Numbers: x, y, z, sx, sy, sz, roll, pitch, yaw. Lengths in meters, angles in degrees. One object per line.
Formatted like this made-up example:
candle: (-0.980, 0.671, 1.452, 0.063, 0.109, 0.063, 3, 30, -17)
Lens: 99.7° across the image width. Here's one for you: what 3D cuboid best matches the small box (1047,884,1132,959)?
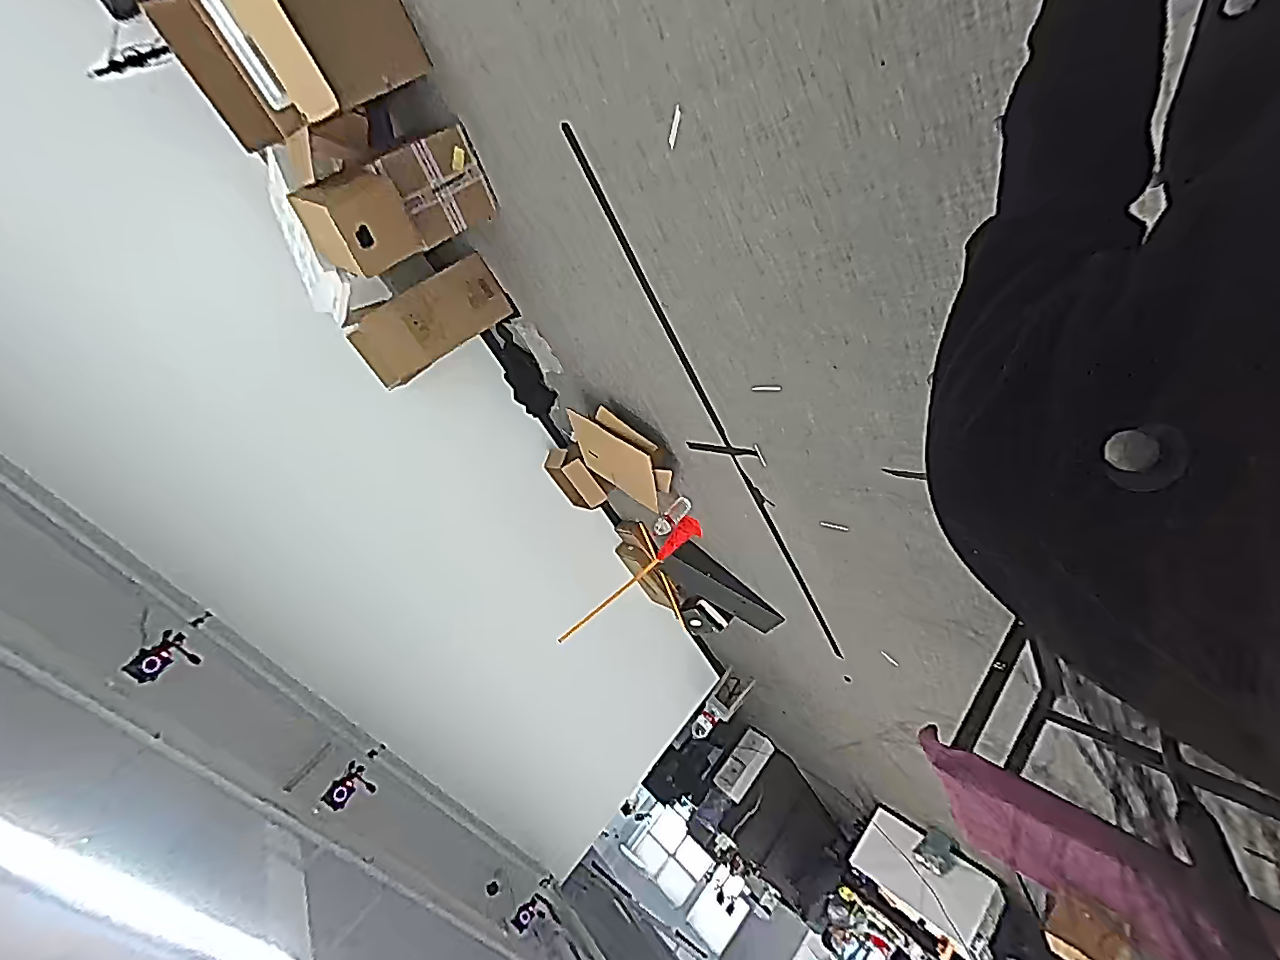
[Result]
small box: (1.420, 1.436, 1.704, 0.168, 0.176, 0.179, 11, 138, 53)
